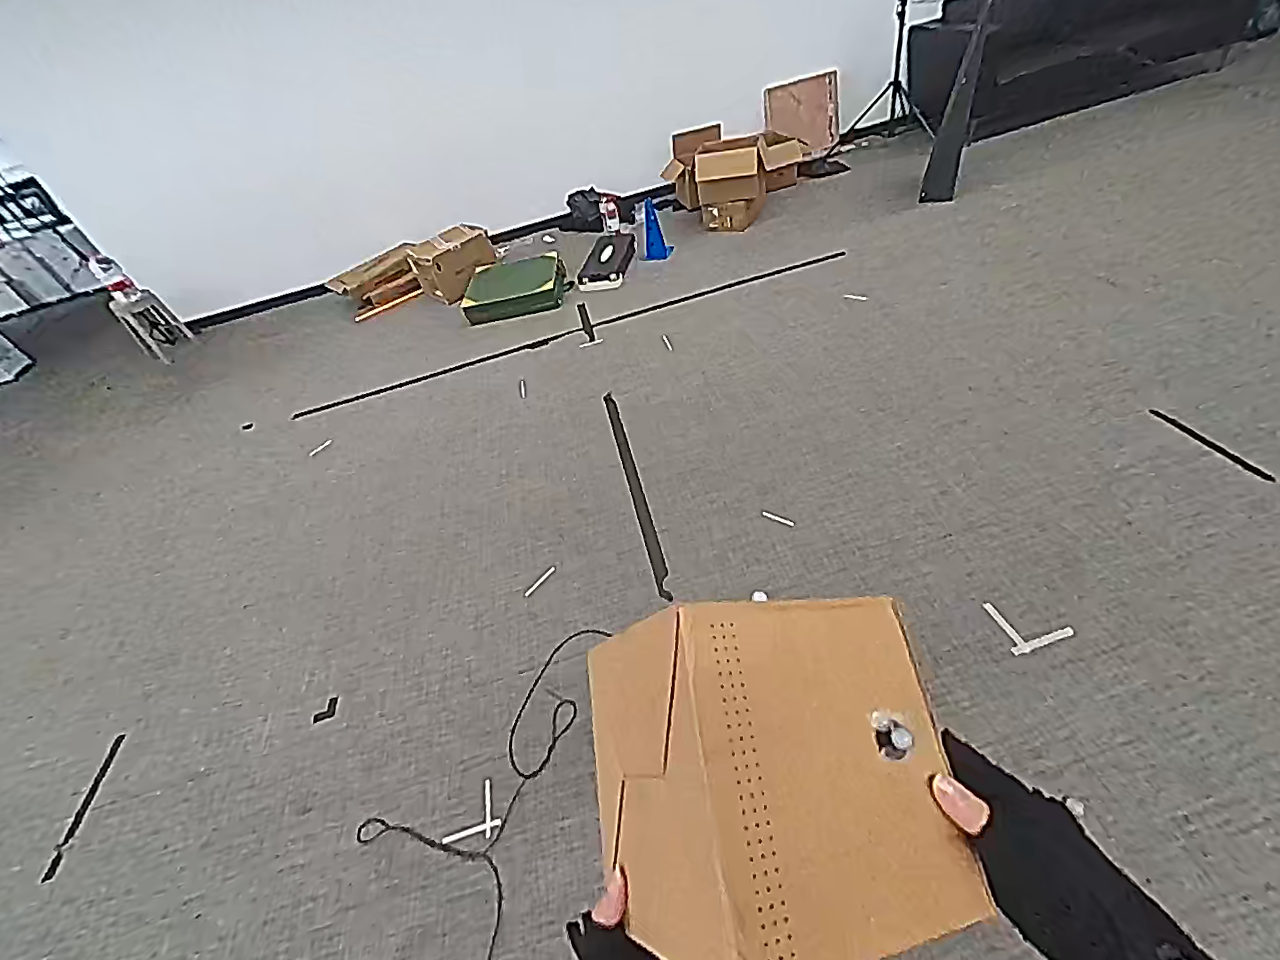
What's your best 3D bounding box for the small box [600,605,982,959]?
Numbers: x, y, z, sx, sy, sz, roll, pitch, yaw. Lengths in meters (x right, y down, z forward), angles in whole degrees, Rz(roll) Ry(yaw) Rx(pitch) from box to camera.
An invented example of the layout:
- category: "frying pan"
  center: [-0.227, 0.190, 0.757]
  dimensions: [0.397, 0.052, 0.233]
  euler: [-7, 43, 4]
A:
- category: "small box"
  center: [0.077, 0.194, 0.372]
  dimensions: [0.176, 0.168, 0.179]
  euler: [4, 62, -22]
